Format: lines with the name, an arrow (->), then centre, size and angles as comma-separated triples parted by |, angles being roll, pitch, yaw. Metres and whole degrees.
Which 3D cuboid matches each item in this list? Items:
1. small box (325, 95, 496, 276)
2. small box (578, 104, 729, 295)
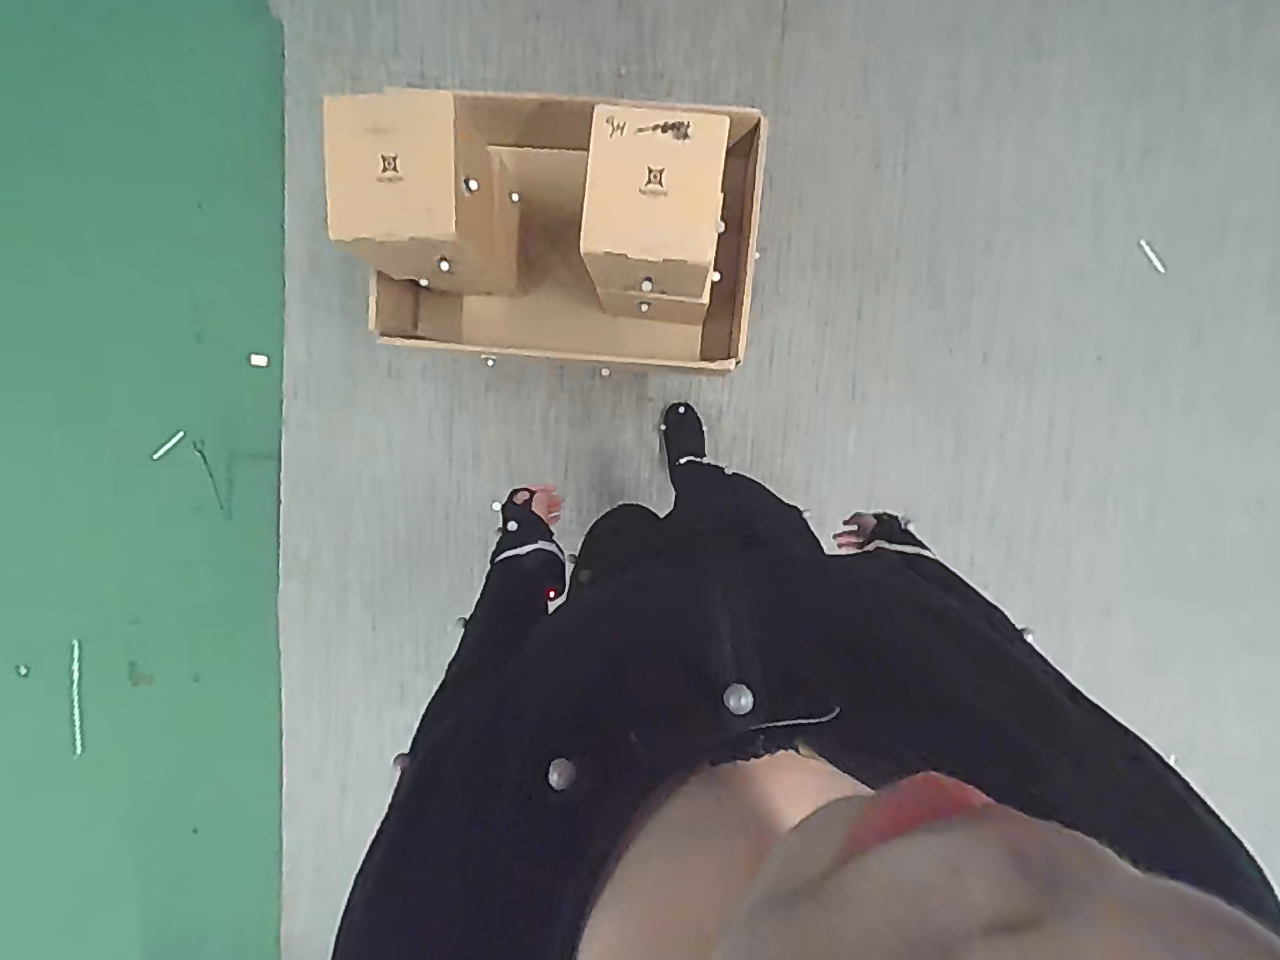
small box -> -0.304, -0.391, 0.748 | 0.168, 0.176, 0.179 | 1, 95, 3
small box -> 0.020, -0.361, 0.729 | 0.168, 0.176, 0.179 | 7, 96, 2
